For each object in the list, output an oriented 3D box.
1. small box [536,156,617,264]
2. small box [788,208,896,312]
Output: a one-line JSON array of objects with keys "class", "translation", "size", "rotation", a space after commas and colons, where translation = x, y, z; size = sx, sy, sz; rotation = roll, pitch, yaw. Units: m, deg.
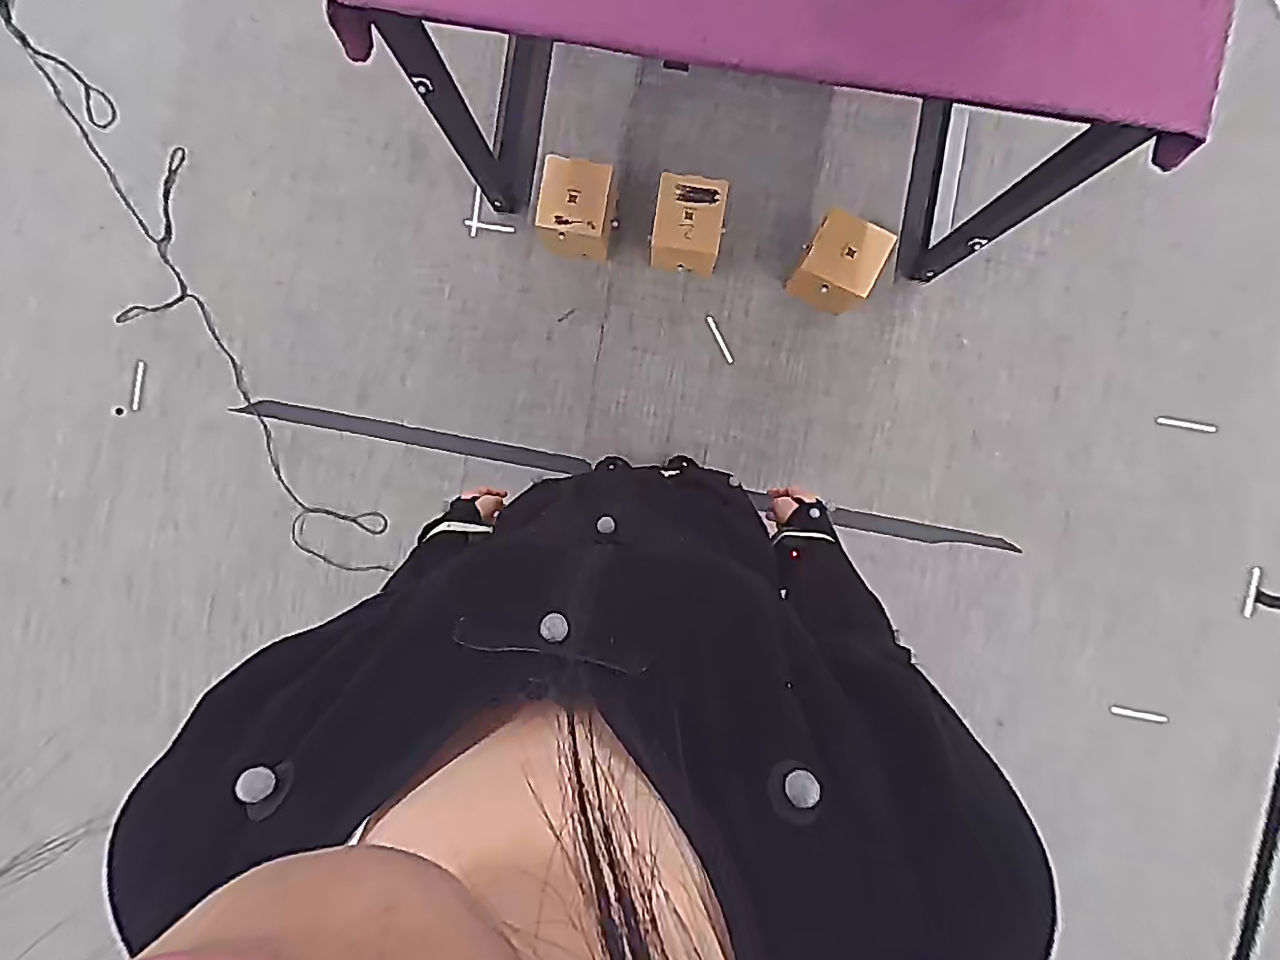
[{"class": "small box", "translation": [-0.156, -0.684, 1.383], "size": [0.168, 0.176, 0.179], "rotation": [12, 91, 1]}, {"class": "small box", "translation": [0.504, -0.546, 1.374], "size": [0.179, 0.176, 0.168], "rotation": [27, 94, 1]}]
